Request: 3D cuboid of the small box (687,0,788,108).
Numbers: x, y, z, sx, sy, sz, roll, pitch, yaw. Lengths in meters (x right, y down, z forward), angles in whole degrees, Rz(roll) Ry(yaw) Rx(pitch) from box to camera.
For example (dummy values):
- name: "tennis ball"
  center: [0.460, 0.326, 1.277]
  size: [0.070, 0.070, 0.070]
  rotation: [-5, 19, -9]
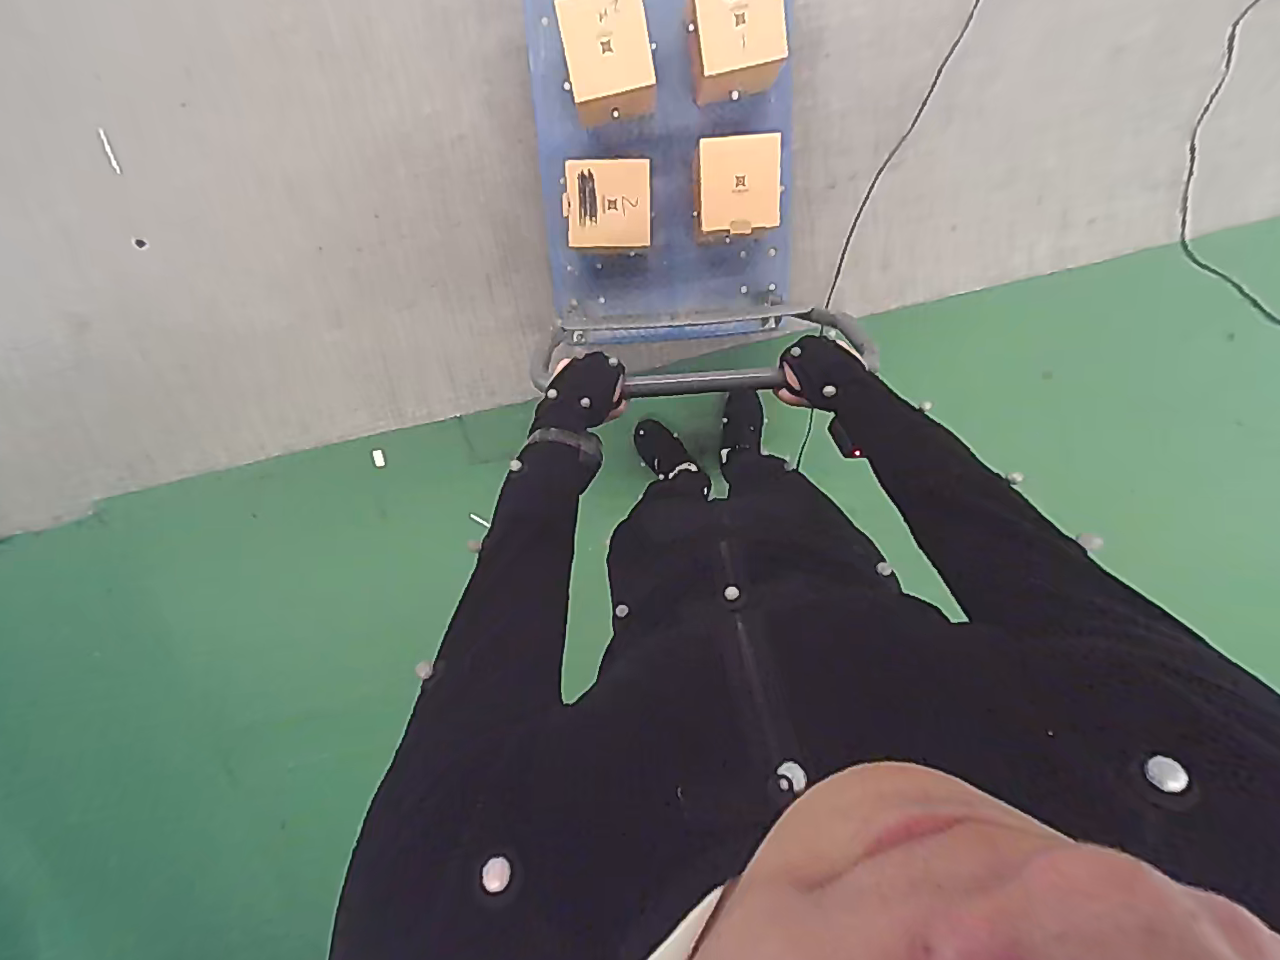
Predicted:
- name: "small box"
  center: [0.192, -0.901, 1.105]
  size: [0.168, 0.176, 0.179]
  rotation: [-10, 108, 4]

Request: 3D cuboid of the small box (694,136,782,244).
- name: "small box"
  center: [0.210, -0.629, 1.191]
  size: [0.168, 0.176, 0.179]
  rotation: [-4, 108, 1]

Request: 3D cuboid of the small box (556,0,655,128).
- name: "small box"
  center: [-0.063, -0.858, 1.119]
  size: [0.168, 0.176, 0.179]
  rotation: [-12, 107, 3]
